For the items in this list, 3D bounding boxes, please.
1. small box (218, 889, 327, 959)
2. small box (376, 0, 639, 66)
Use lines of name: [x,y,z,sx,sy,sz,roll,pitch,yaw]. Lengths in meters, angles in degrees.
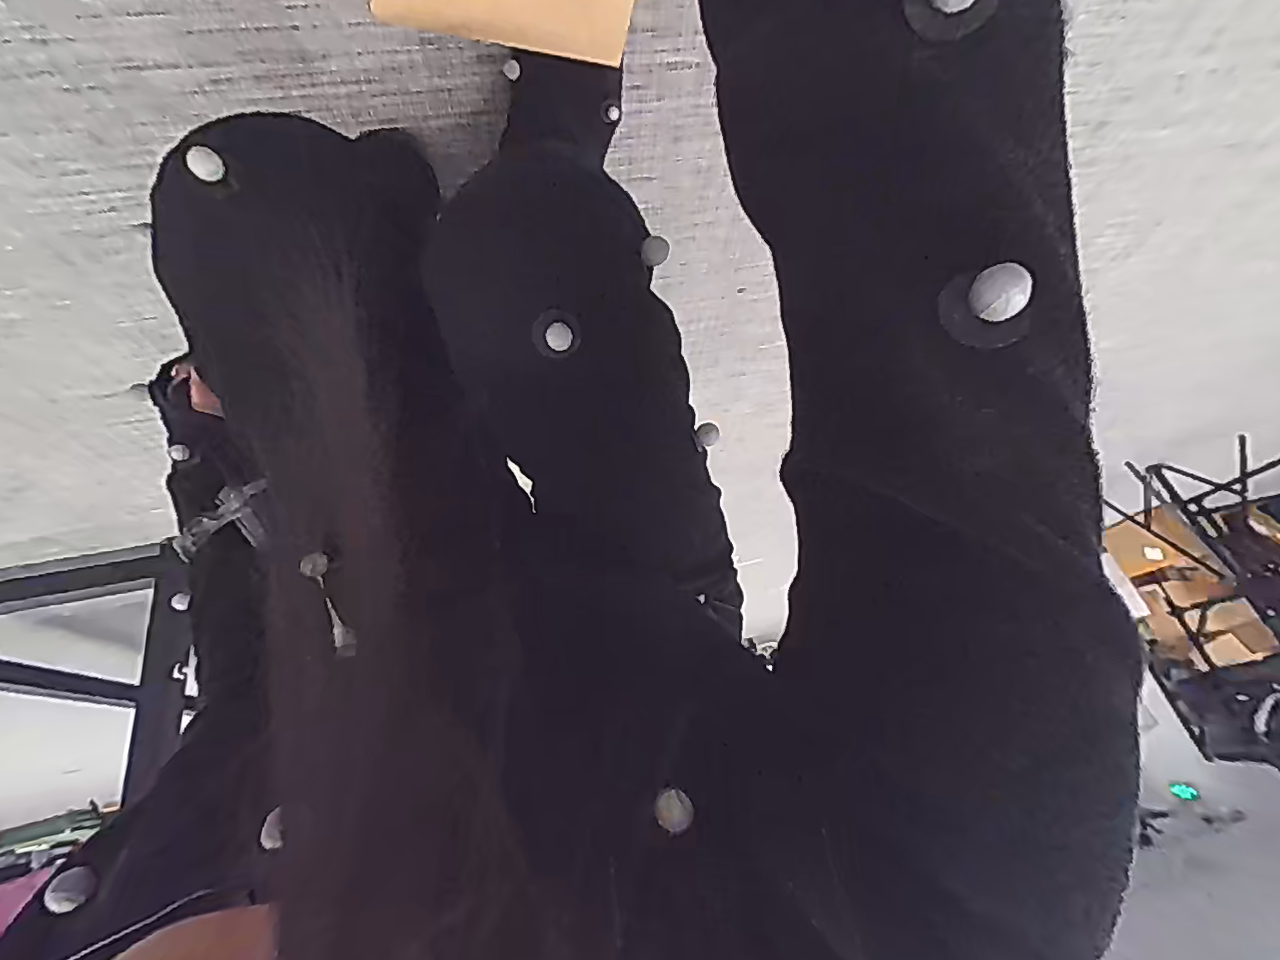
small box: [-0.889,1.123,1.312,0.179,0.176,0.168,-11,154,-8]
small box: [-0.082,-0.406,0.327,0.168,0.176,0.179,-6,153,-21]
